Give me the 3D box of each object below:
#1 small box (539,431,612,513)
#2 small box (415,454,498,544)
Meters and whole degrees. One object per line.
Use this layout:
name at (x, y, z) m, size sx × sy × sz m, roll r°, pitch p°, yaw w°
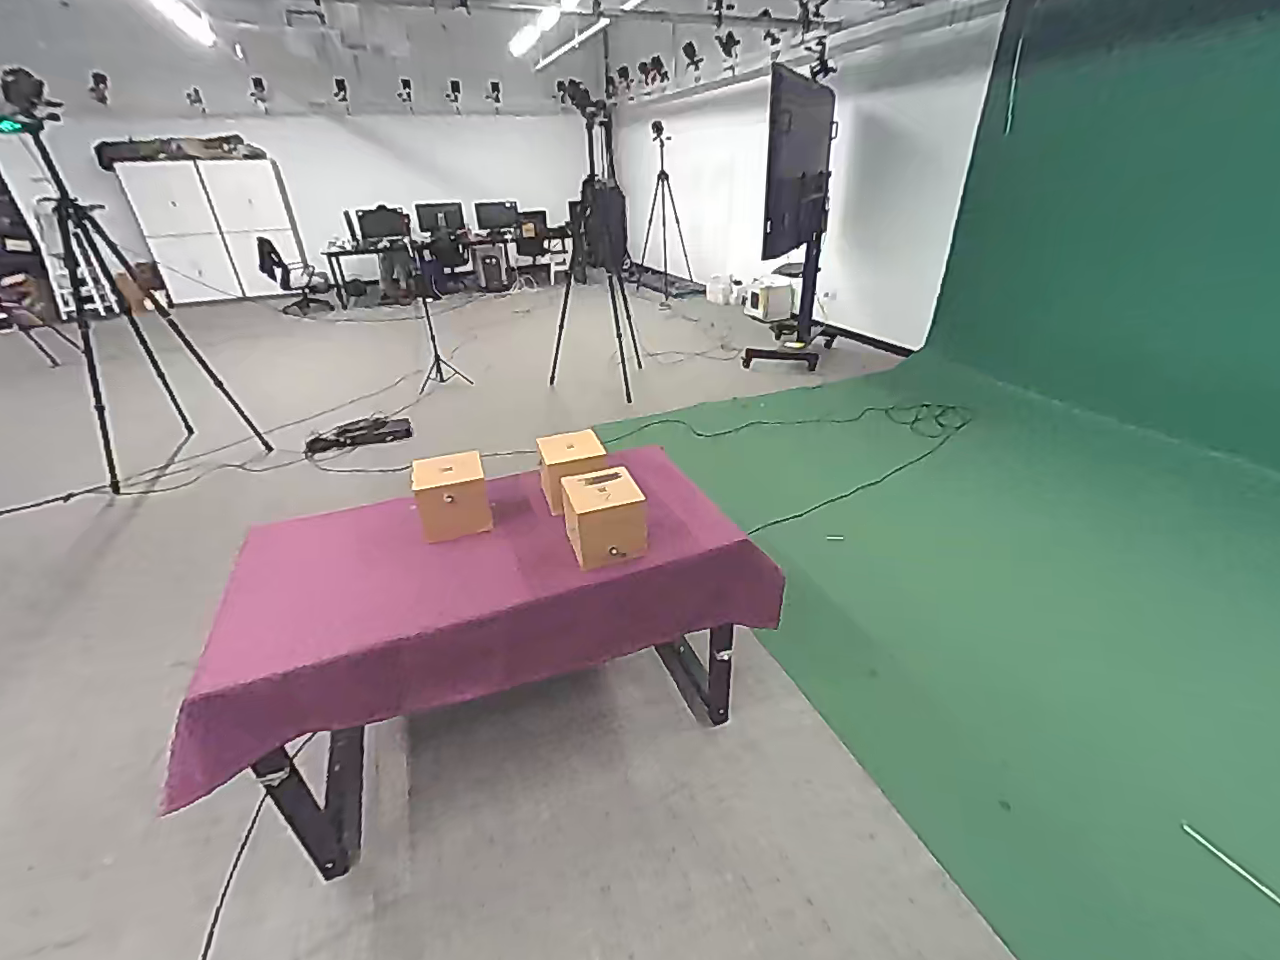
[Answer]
small box at (-0.184, -0.018, 1.546) m, size 0.168 × 0.176 × 0.179 m, roll -12°, pitch 30°, yaw -15°
small box at (-0.490, 0.053, 1.453) m, size 0.179 × 0.176 × 0.168 m, roll -11°, pitch 31°, yaw -15°
